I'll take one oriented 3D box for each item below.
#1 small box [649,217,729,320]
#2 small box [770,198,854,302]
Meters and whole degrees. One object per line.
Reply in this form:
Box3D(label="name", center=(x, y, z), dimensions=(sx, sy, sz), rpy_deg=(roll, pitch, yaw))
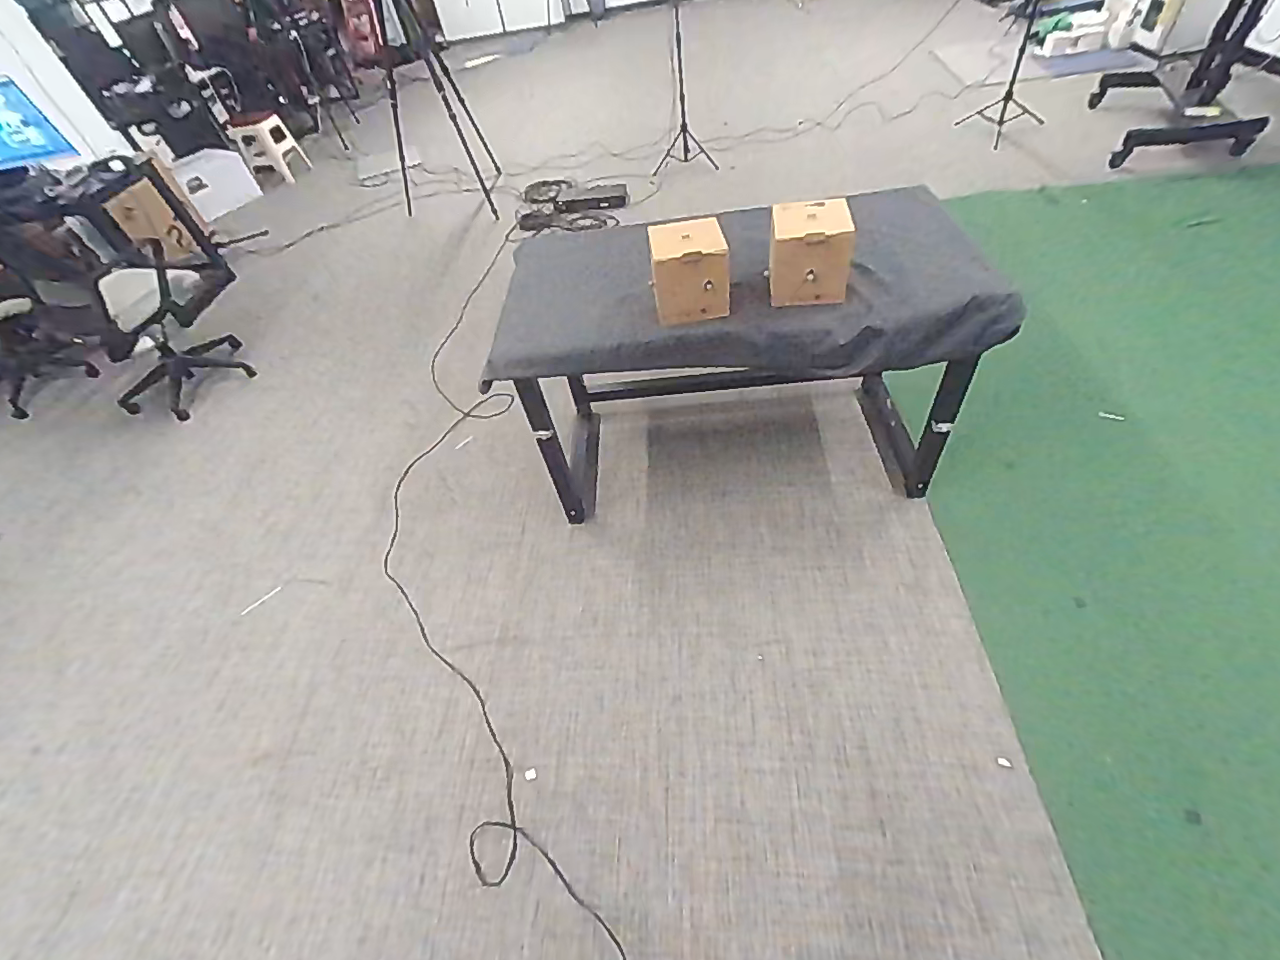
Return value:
Box3D(label="small box", center=(0.116, -0.493, 1.278), dimensions=(0.168, 0.176, 0.179), rpy_deg=(-7, 46, 1))
Box3D(label="small box", center=(0.393, -0.528, 1.259), dimensions=(0.168, 0.176, 0.179), rpy_deg=(1, 50, 10))
